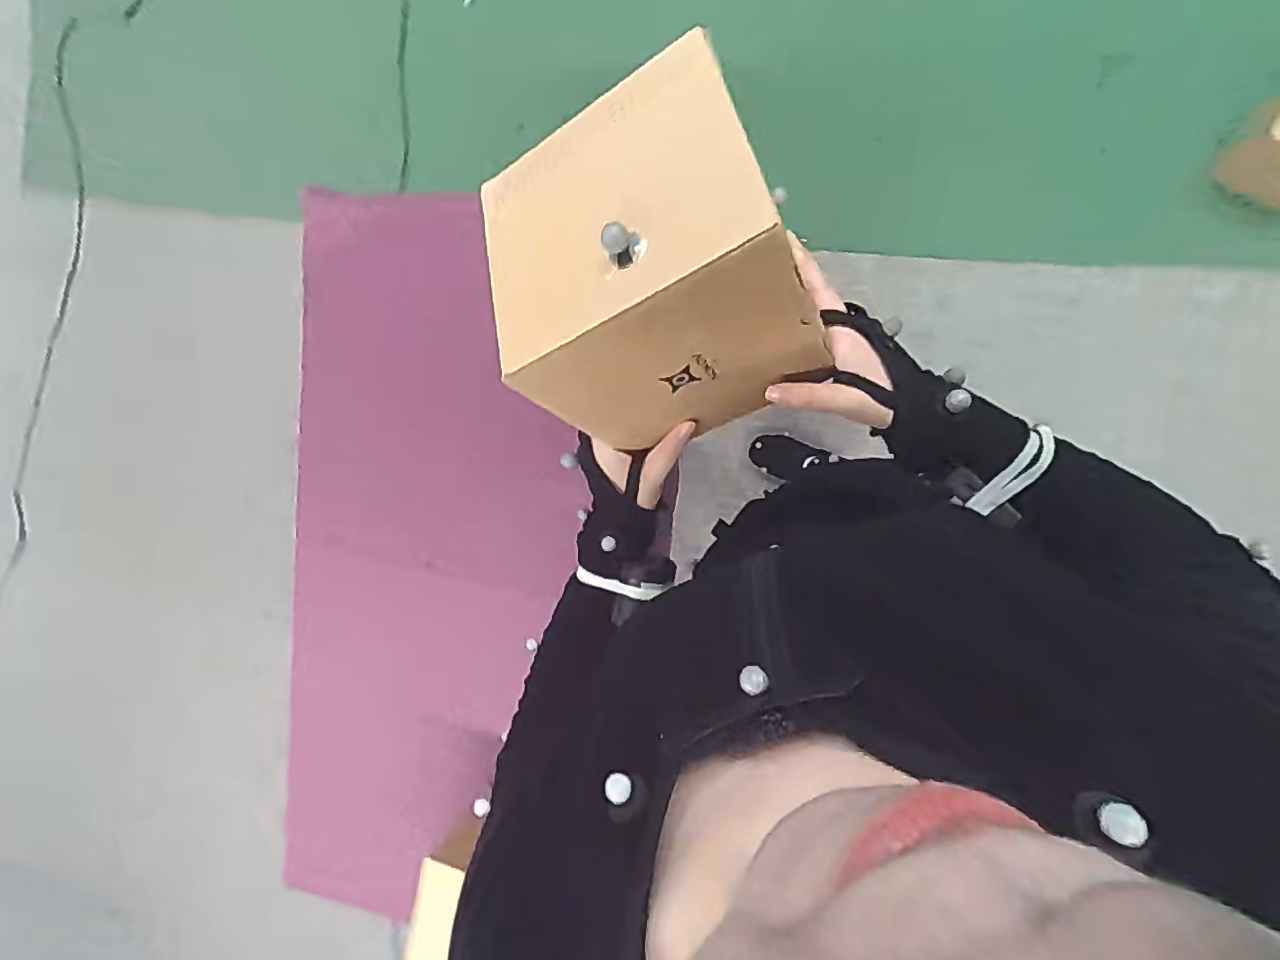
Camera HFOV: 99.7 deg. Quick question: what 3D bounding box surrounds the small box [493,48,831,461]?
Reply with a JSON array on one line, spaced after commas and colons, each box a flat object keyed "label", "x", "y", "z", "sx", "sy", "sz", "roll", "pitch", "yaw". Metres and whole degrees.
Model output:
[{"label": "small box", "x": 0.013, "y": -0.141, "z": 0.387, "sx": 0.179, "sy": 0.168, "sz": 0.176, "roll": -22, "pitch": 64, "yaw": 22}]
